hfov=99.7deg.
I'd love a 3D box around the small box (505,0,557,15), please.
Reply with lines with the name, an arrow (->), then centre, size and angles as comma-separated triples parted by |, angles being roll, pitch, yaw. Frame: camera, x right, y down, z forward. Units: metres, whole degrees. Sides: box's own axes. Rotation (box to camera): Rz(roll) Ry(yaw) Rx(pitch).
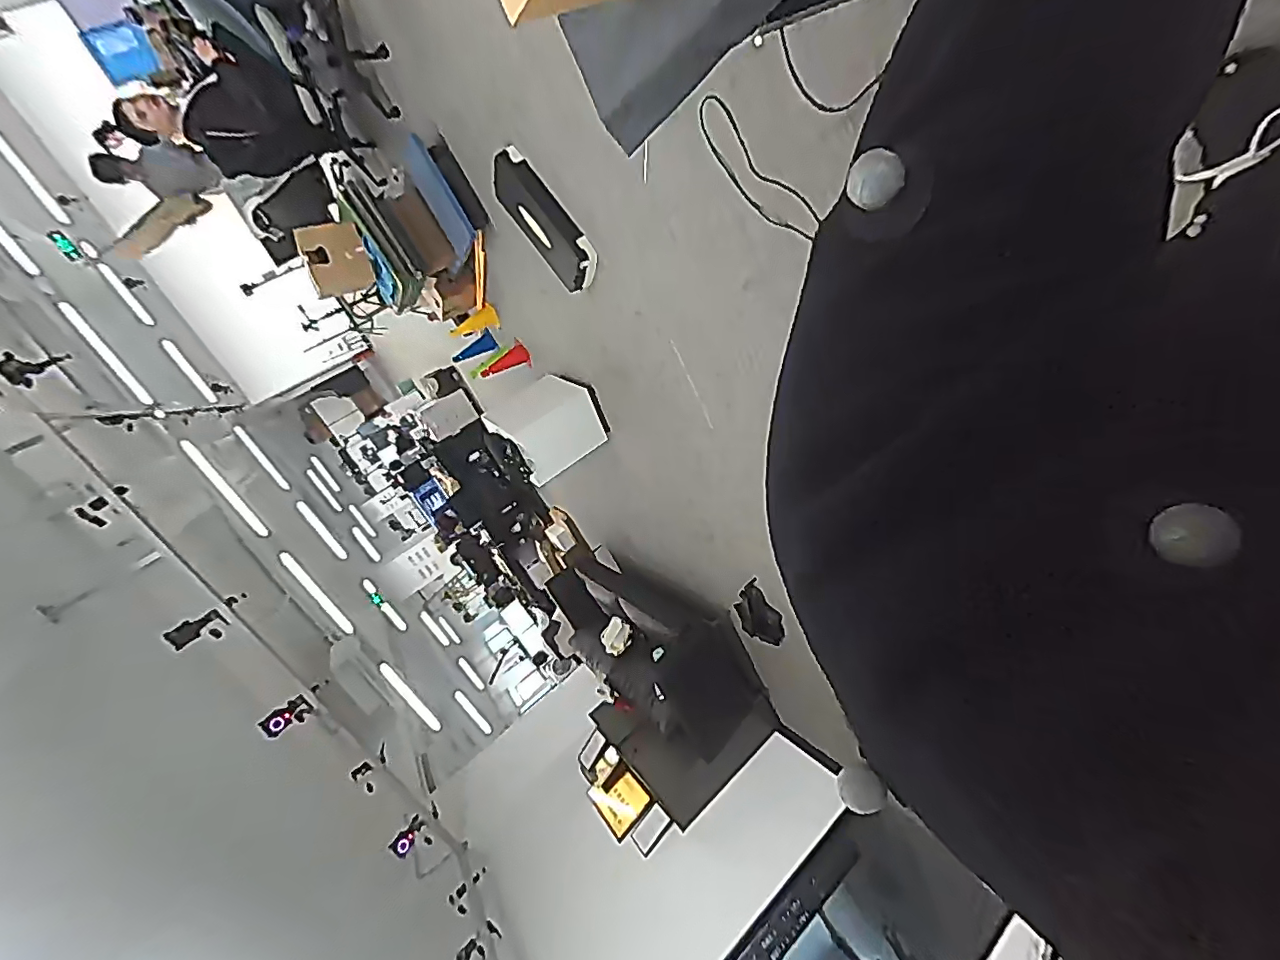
small box -> -0.064, -0.602, 0.519 | 0.179, 0.176, 0.168 | 18, 139, 57
